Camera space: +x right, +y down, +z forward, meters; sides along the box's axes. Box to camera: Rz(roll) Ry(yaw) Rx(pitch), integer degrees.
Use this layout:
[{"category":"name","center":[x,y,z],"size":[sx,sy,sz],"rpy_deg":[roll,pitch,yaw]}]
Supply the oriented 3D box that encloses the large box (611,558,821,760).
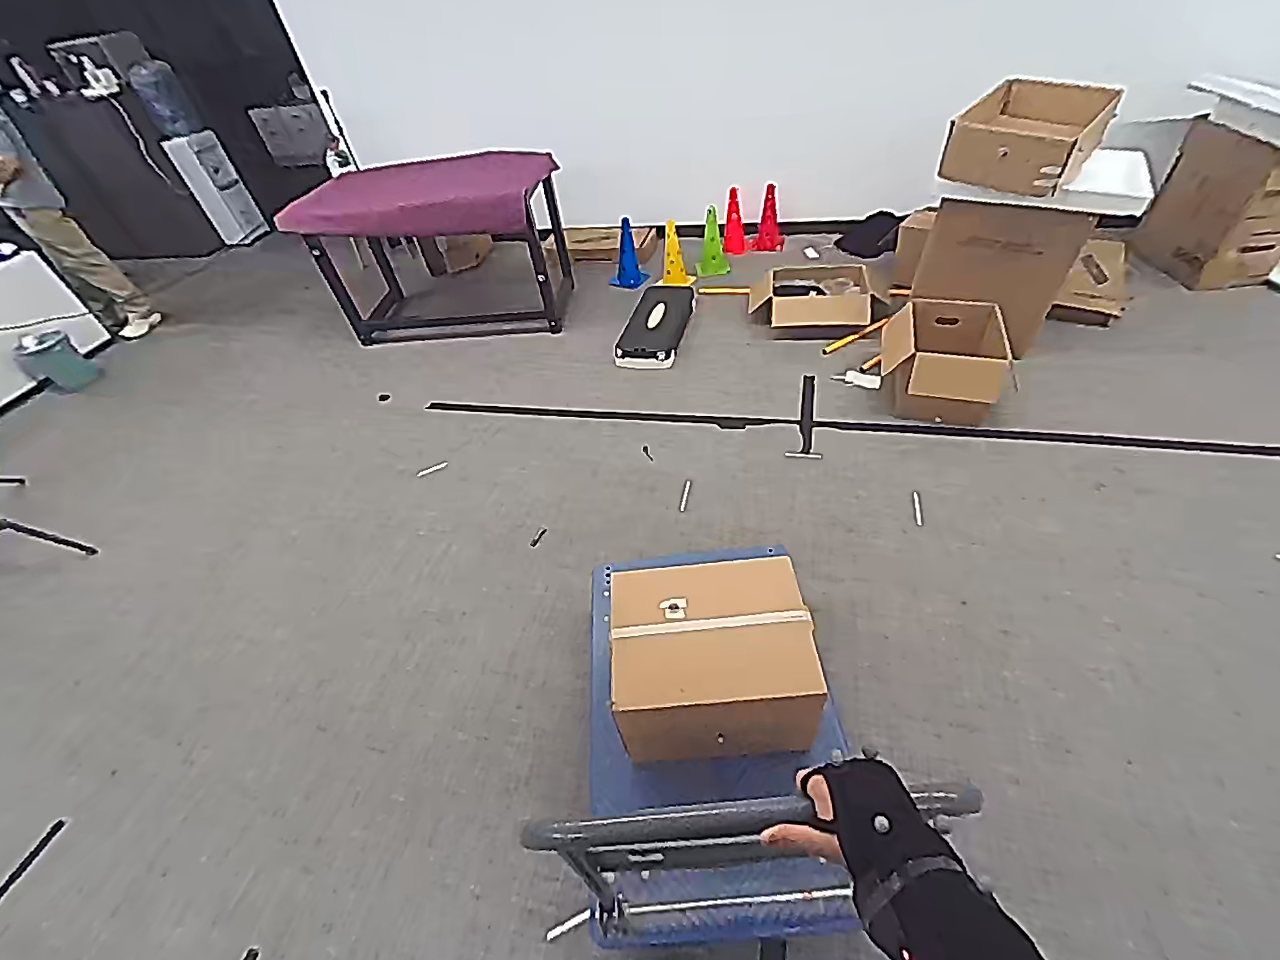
[{"category":"large box","center":[0.159,0.414,1.235],"size":[0.408,0.320,0.320],"rpy_deg":[-7,45,4]}]
